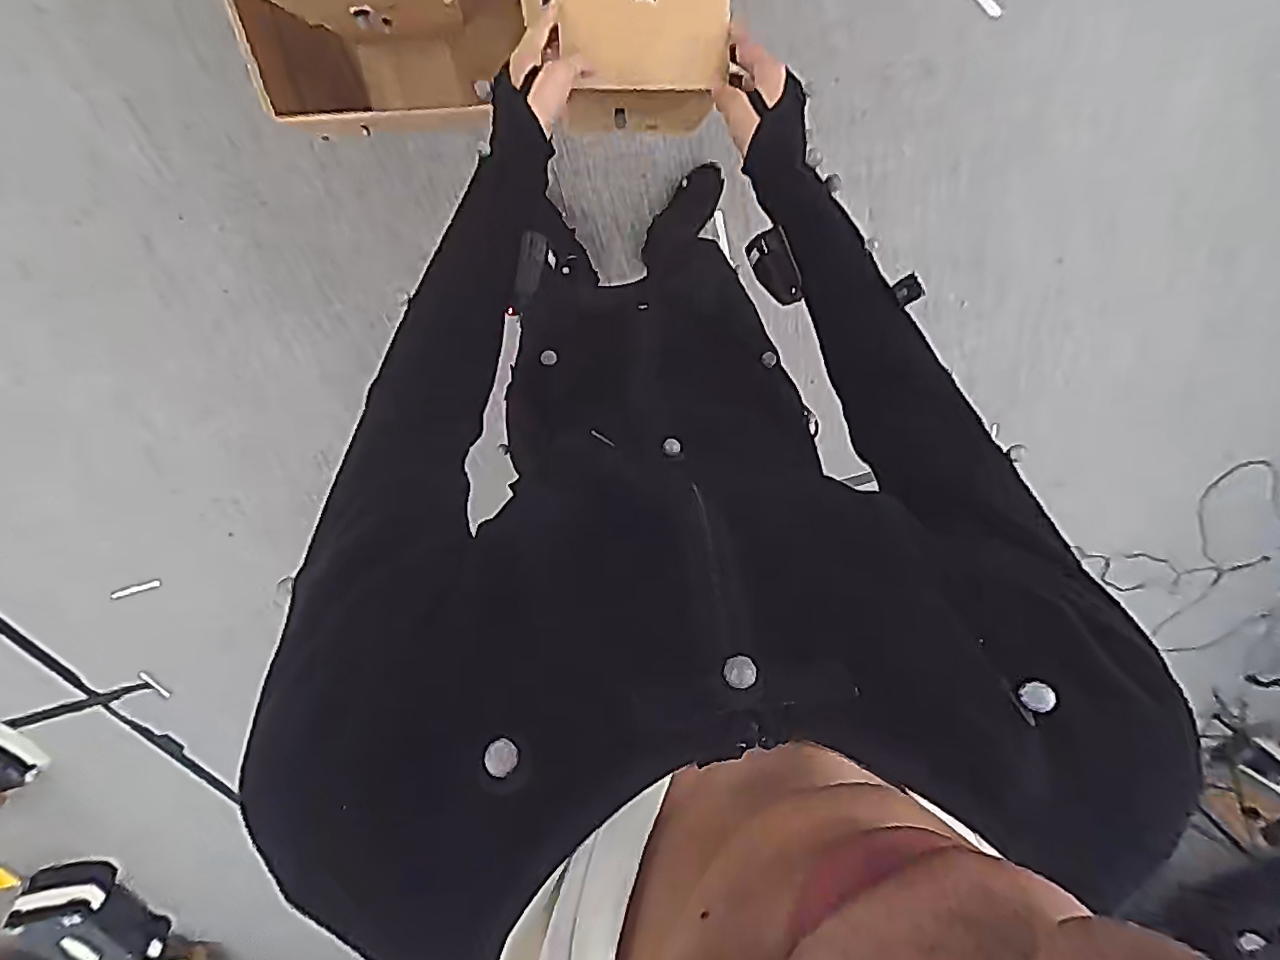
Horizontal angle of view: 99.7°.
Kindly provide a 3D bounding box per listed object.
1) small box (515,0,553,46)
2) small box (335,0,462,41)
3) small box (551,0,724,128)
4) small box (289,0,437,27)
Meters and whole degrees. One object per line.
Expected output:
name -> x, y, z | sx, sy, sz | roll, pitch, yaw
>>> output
small box -> -0.099, -0.727, 0.750 | 0.168, 0.176, 0.179 | -11, 122, -5
small box -> -0.351, -0.704, 0.712 | 0.179, 0.176, 0.168 | -12, 123, -5
small box -> -0.008, -0.491, 0.571 | 0.168, 0.176, 0.179 | -3, 109, -5
small box -> -0.333, -0.621, 0.573 | 0.168, 0.176, 0.179 | -13, 122, -3
